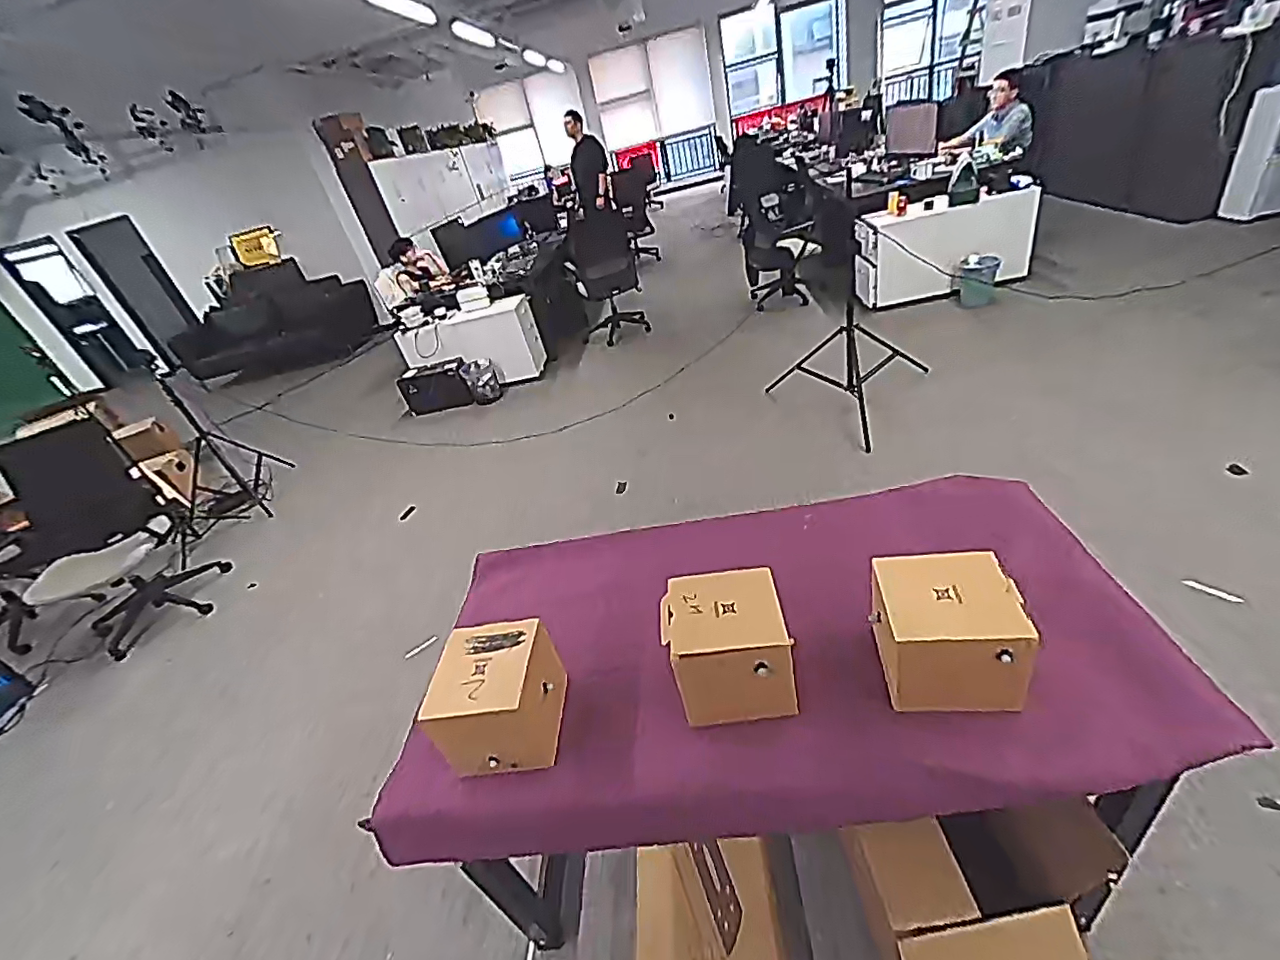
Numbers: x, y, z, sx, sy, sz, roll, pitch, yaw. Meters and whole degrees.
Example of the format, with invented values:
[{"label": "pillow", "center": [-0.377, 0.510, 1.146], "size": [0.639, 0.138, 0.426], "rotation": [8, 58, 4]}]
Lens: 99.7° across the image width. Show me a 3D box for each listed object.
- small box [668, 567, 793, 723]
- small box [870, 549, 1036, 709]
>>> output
[{"label": "small box", "center": [0.148, 0.270, 0.882], "size": [0.179, 0.176, 0.168], "rotation": [-11, 31, 8]}, {"label": "small box", "center": [0.457, 0.227, 0.818], "size": [0.179, 0.176, 0.168], "rotation": [-6, 34, 14]}]
